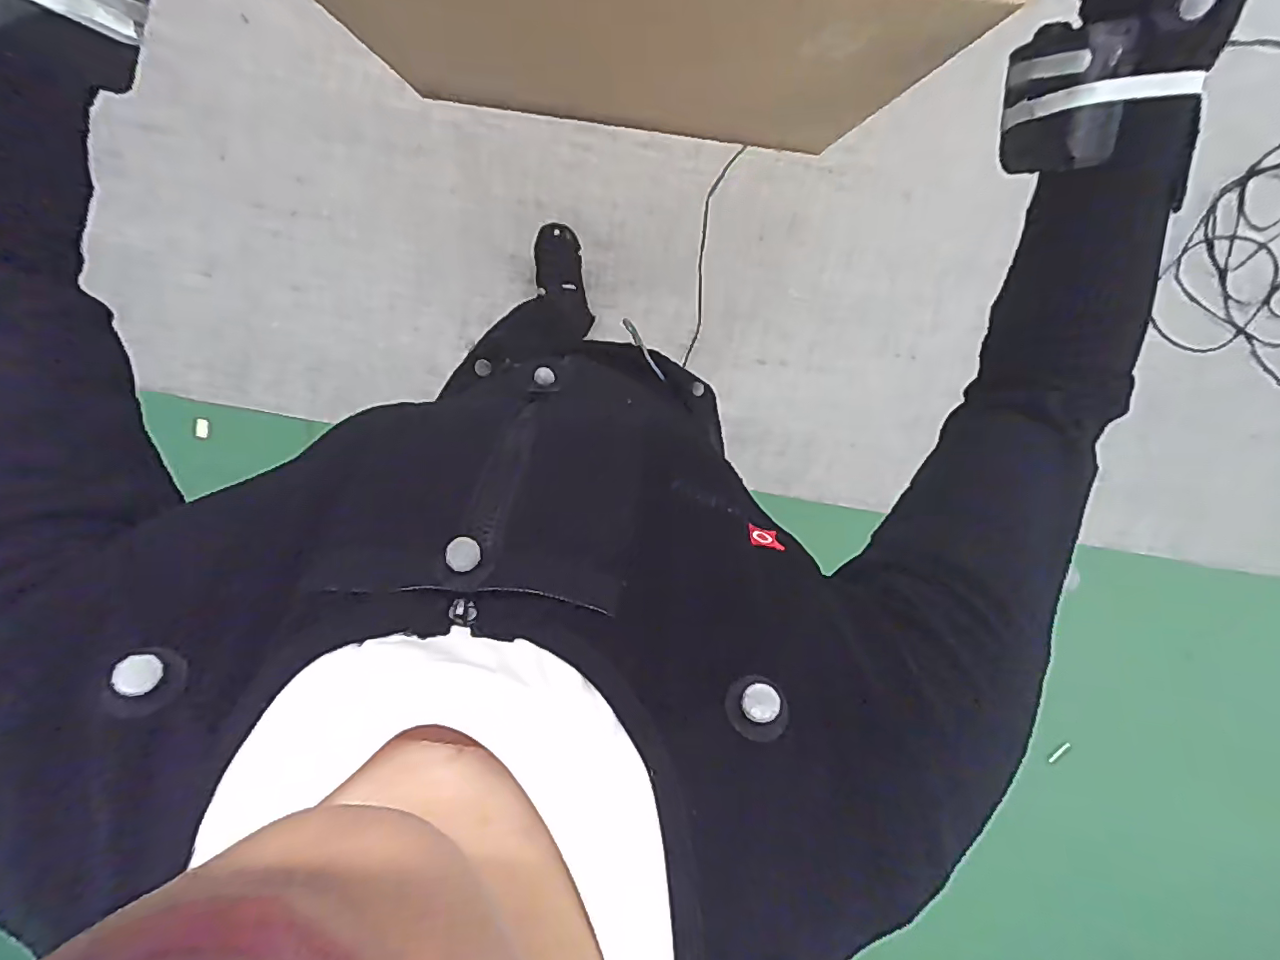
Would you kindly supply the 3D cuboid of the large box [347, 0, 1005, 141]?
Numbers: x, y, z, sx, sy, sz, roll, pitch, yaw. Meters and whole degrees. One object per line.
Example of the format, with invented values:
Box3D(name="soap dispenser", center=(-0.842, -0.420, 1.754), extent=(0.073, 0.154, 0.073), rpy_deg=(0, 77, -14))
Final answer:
Box3D(name="large box", center=(0.010, -0.454, 0.353), extent=(0.408, 0.320, 0.320), rpy_deg=(5, 110, -4))
